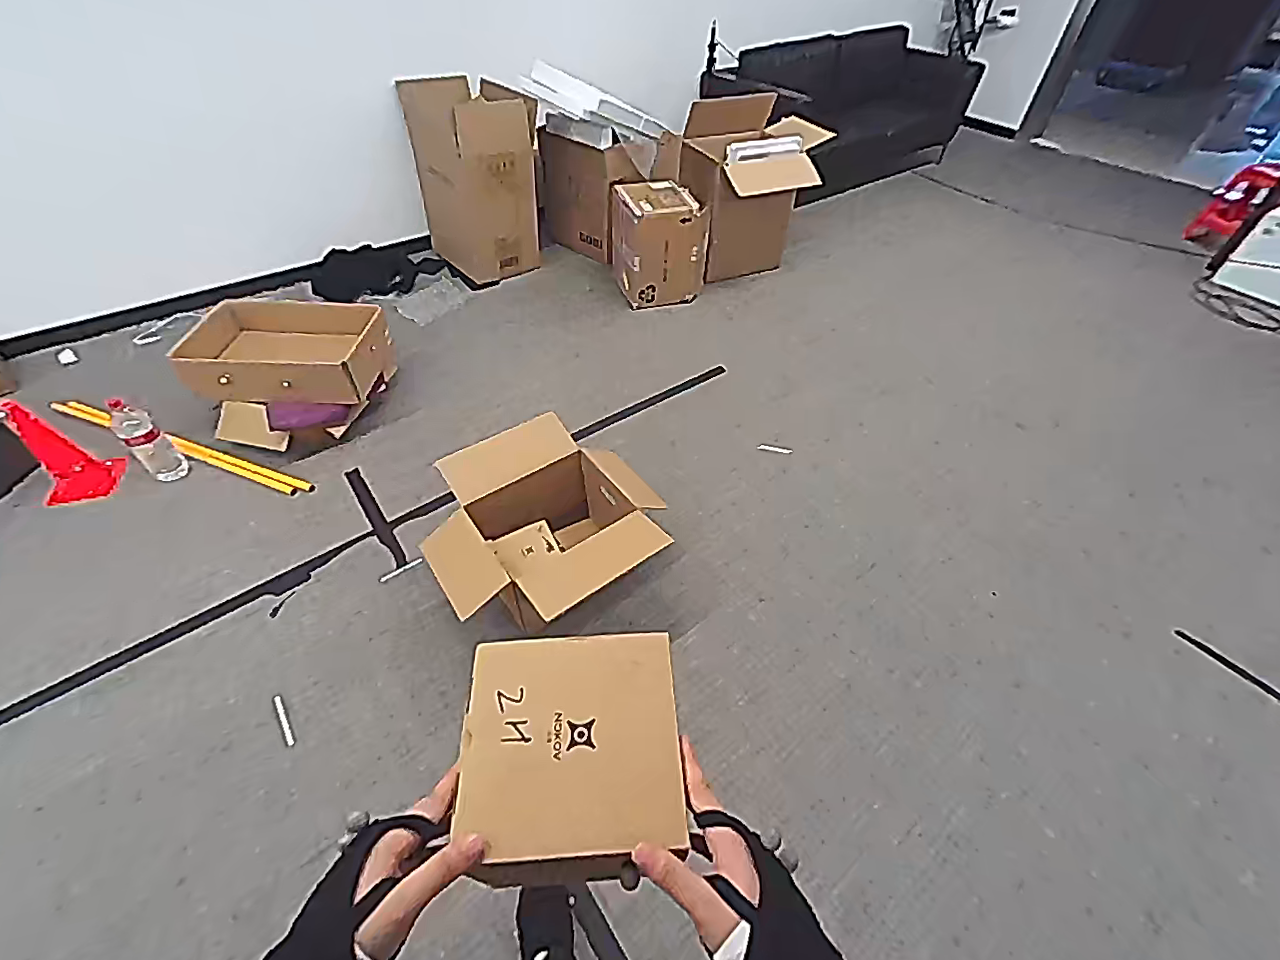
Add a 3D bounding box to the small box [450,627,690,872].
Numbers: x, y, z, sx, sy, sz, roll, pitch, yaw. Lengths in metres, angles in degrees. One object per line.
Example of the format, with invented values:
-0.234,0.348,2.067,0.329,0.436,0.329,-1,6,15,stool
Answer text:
-0.053,0.252,0.501,0.179,0.176,0.168,-4,49,-1,small box
